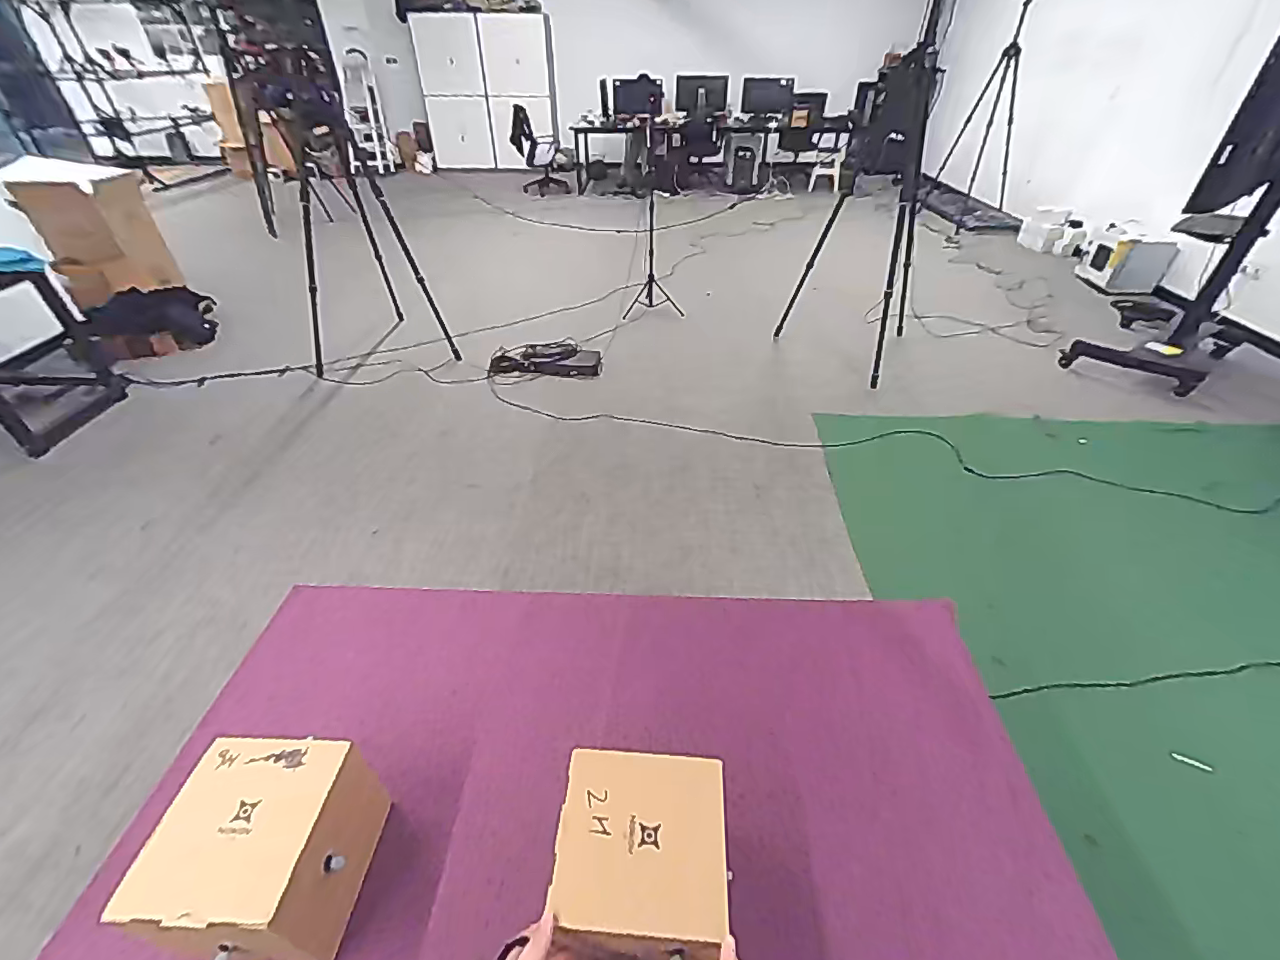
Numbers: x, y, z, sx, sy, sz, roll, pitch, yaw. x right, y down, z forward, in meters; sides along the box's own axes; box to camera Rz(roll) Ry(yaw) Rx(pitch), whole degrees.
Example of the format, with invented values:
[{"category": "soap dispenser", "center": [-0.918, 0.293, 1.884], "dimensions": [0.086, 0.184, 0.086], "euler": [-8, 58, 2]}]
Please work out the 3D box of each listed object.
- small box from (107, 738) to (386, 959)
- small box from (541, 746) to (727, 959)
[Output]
[{"category": "small box", "center": [-0.422, 0.425, 0.624], "dimensions": [0.168, 0.176, 0.179], "euler": [1, 39, 2]}, {"category": "small box", "center": [0.001, 0.428, 0.611], "dimensions": [0.179, 0.176, 0.168], "euler": [2, 38, 5]}]
